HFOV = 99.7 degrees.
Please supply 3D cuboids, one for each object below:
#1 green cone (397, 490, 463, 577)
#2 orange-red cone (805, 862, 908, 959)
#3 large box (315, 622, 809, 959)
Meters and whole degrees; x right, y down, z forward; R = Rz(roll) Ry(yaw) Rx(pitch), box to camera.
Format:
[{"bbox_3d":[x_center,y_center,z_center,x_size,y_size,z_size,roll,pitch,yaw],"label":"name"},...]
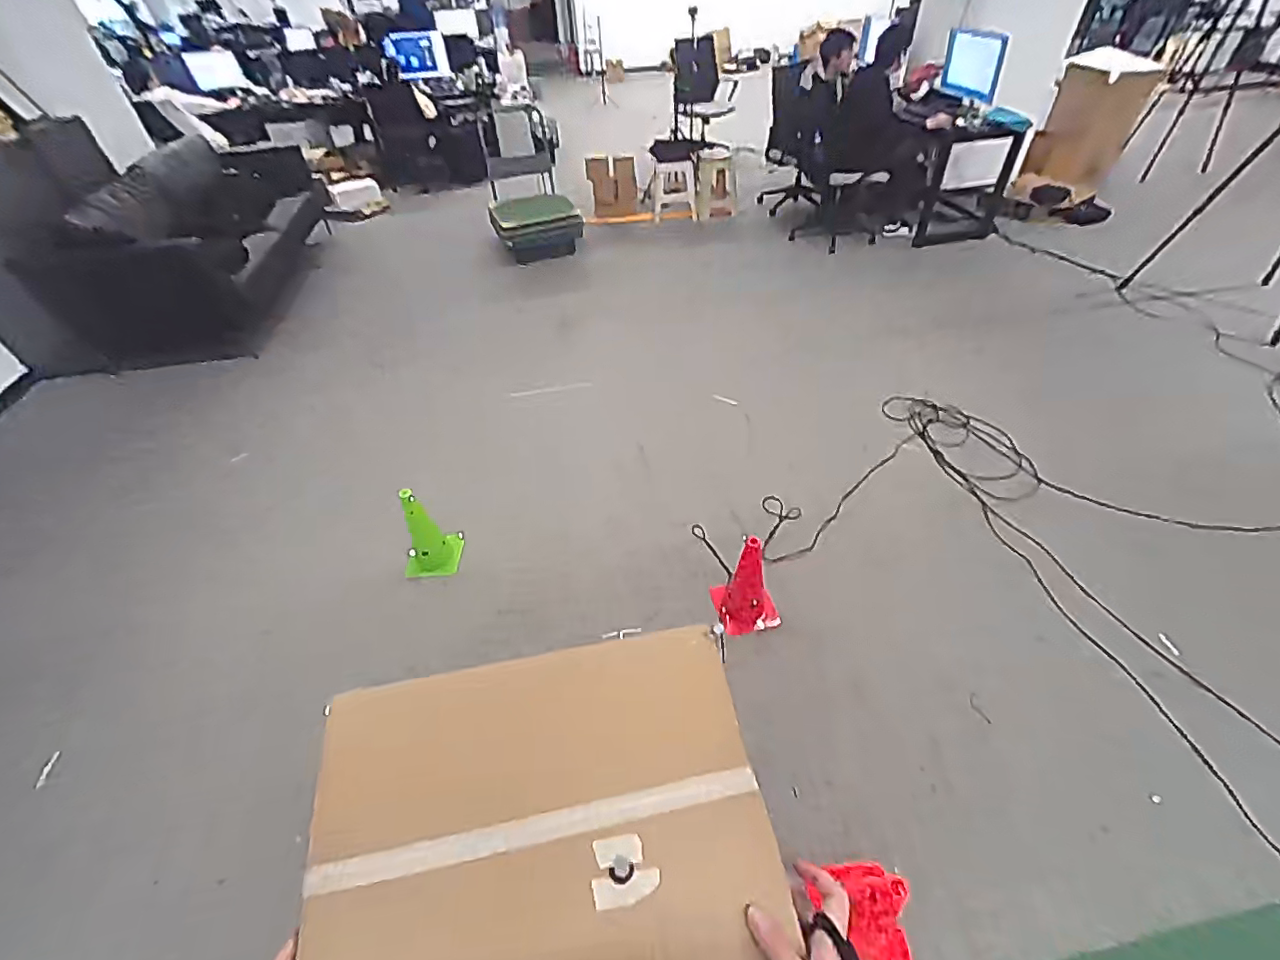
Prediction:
[{"bbox_3d":[-0.815,0.170,1.995,0.200,0.368,0.202,-5,45,0],"label":"green cone"},{"bbox_3d":[0.497,0.900,1.149,0.199,0.360,0.198,-2,45,-1],"label":"orange-red cone"},{"bbox_3d":[-0.086,0.401,0.620,0.408,0.320,0.320,-9,55,-7],"label":"large box"}]
